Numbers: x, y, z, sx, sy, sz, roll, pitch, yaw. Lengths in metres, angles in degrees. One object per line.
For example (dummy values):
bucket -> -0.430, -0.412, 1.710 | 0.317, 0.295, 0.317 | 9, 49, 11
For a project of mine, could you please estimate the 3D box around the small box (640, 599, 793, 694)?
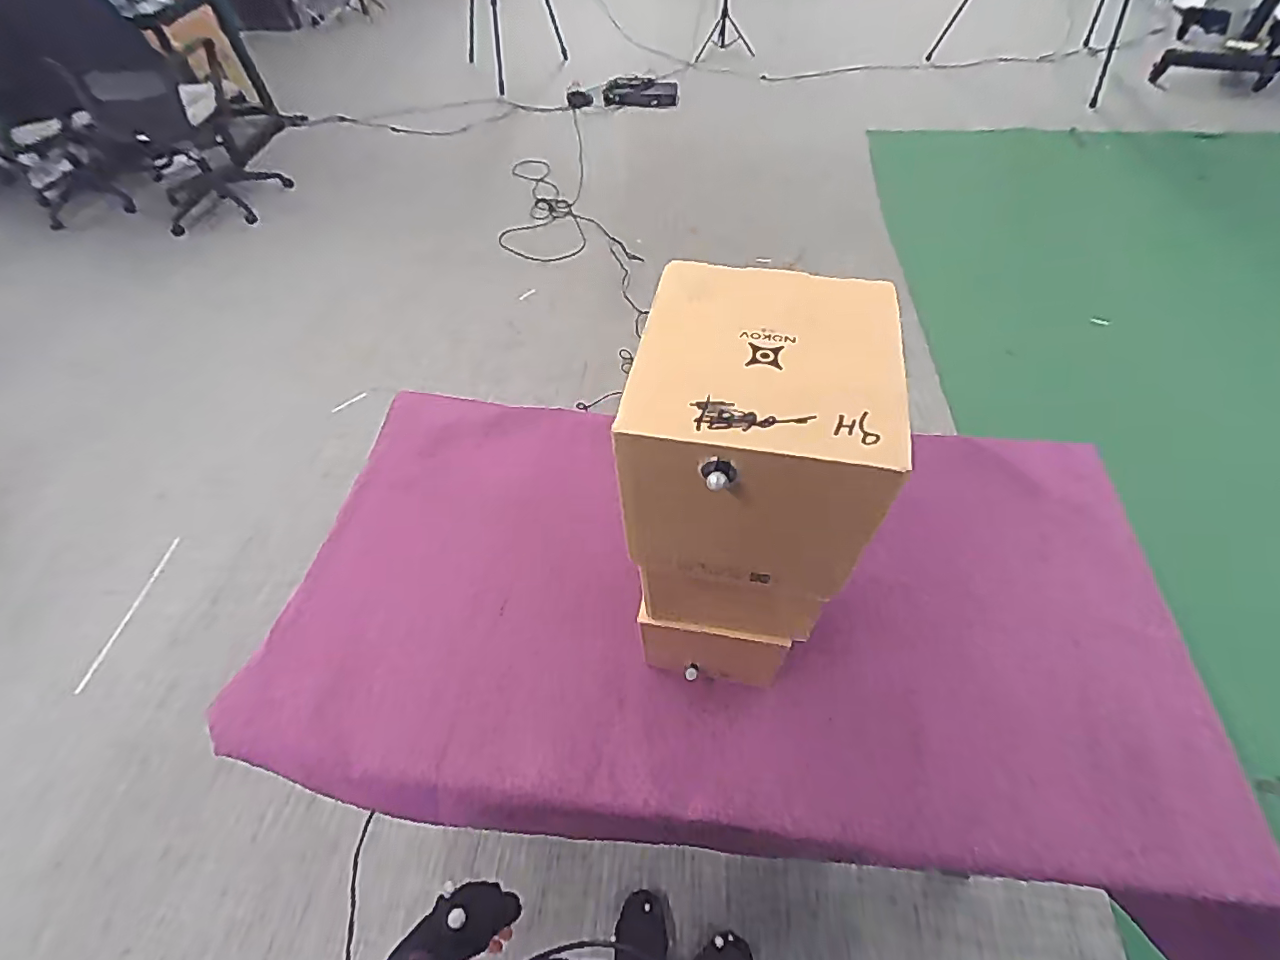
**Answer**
small box -> 0.099, 0.147, 0.682 | 0.168, 0.176, 0.179 | 7, 55, 9

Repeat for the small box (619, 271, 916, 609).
small box -> 0.087, -0.029, 0.407 | 0.168, 0.176, 0.179 | 8, 53, 10

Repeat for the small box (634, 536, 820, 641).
small box -> 0.098, 0.050, 0.553 | 0.179, 0.176, 0.168 | 6, 54, 8
